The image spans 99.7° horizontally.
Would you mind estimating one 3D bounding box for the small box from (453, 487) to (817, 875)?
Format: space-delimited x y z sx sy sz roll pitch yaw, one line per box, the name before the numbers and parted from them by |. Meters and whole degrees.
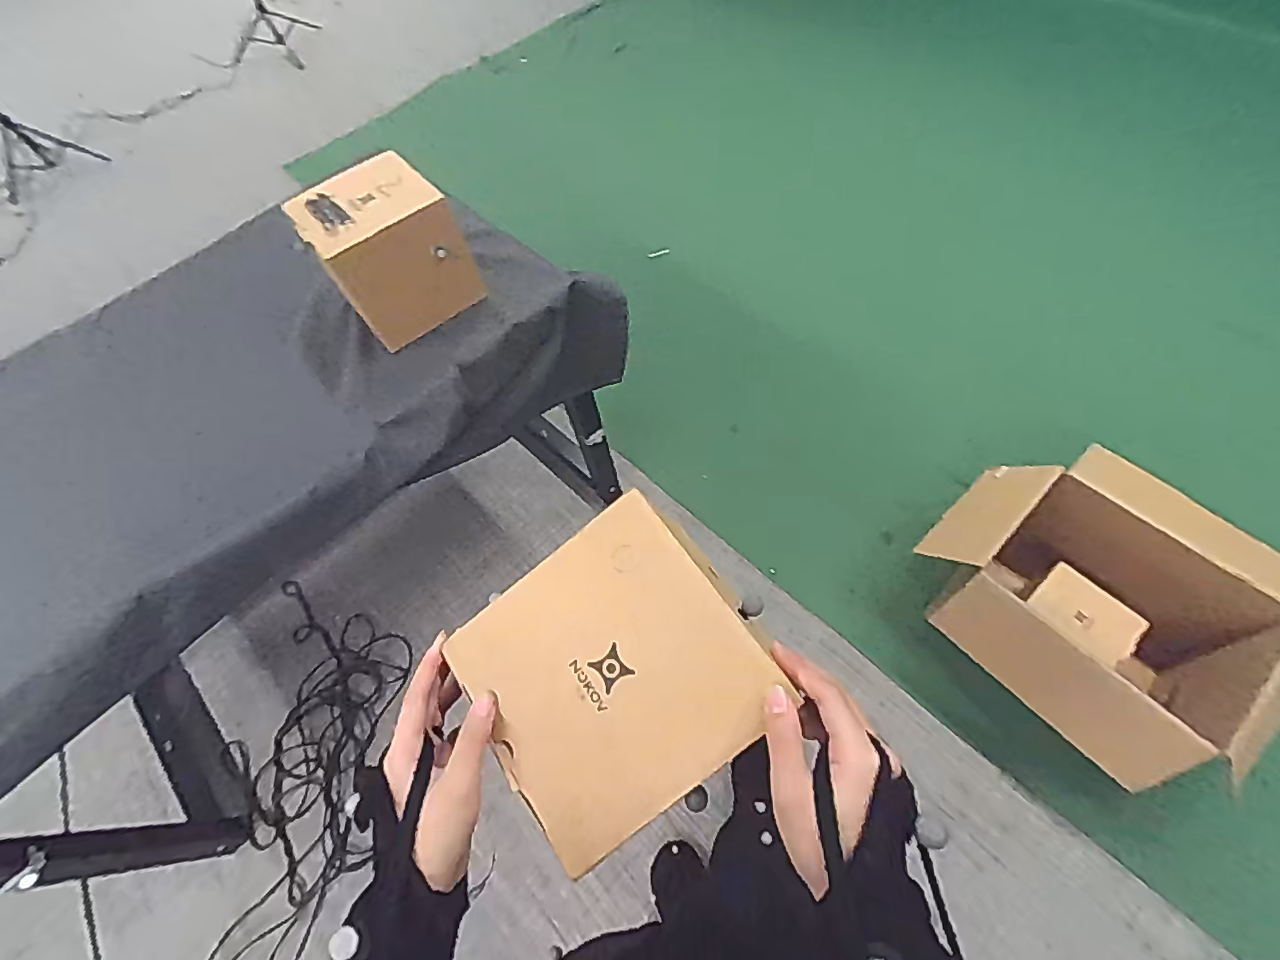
small box | 0.005 0.132 0.408 0.179 0.176 0.168 -39 72 4
